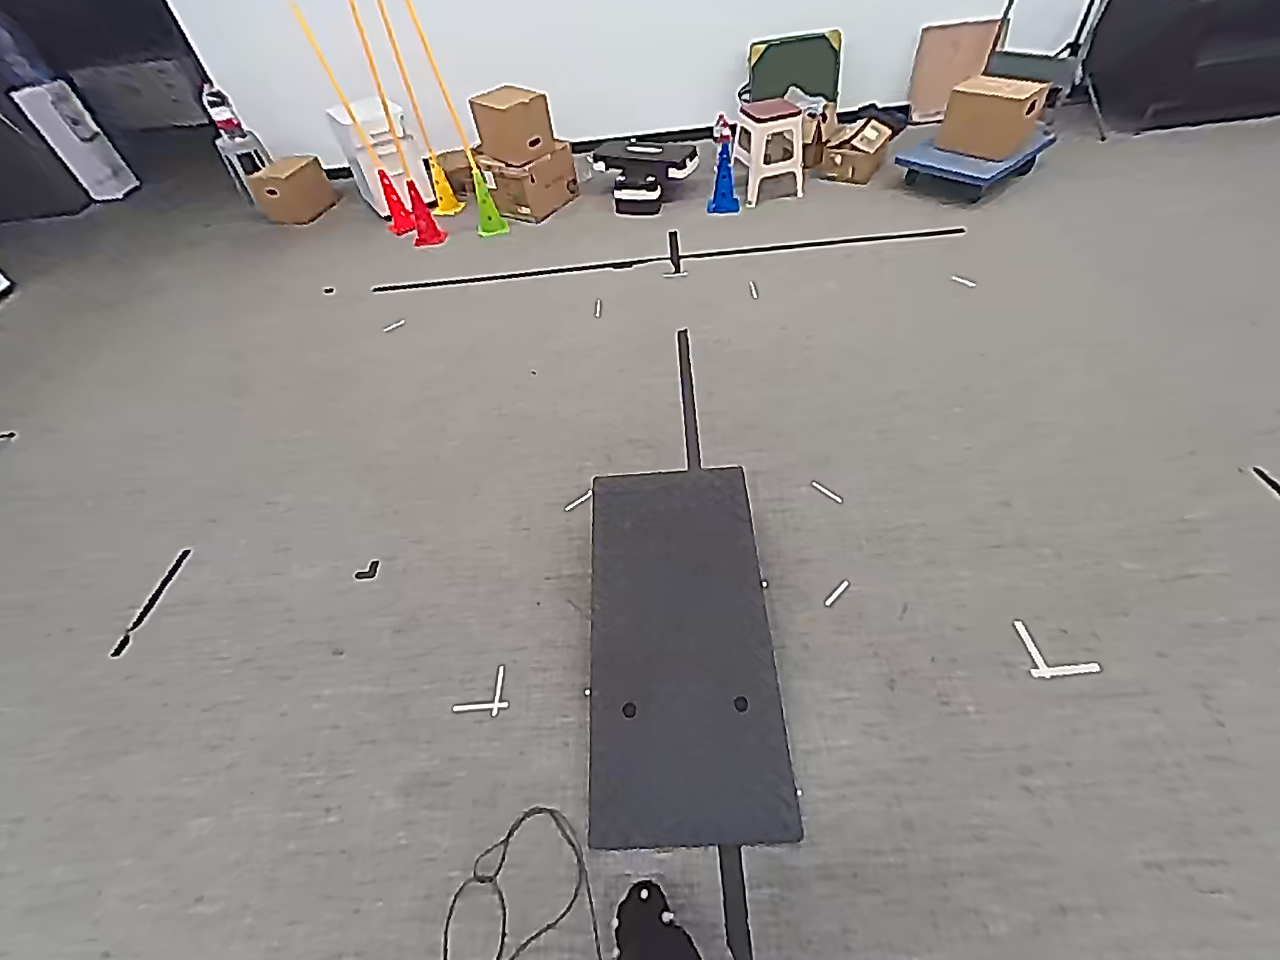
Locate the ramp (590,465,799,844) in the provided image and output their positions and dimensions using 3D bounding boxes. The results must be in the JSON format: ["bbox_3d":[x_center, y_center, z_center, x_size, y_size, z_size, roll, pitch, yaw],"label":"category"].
[{"bbox_3d":[0.106,0.399,1.499,0.509,0.206,0.991,-5,49,1],"label":"ramp"}]
